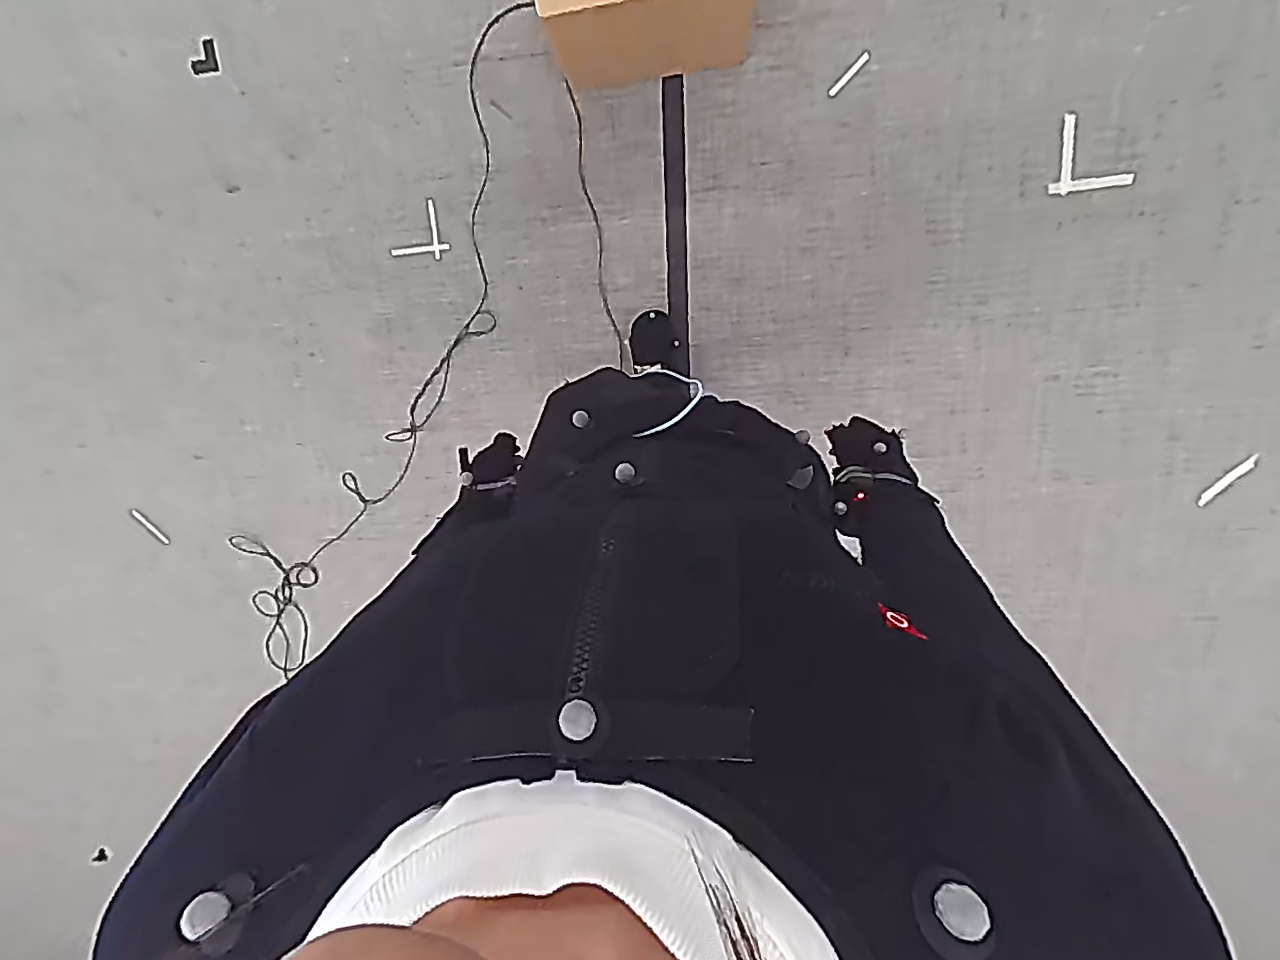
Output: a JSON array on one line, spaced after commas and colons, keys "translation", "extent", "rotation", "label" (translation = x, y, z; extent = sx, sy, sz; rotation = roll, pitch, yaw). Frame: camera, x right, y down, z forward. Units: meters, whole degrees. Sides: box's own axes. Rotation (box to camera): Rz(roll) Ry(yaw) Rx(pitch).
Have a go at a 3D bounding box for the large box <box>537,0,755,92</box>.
[{"translation": [0.005, -1.027, 1.052], "extent": [0.408, 0.320, 0.320], "rotation": [-6, 104, 6], "label": "large box"}]
